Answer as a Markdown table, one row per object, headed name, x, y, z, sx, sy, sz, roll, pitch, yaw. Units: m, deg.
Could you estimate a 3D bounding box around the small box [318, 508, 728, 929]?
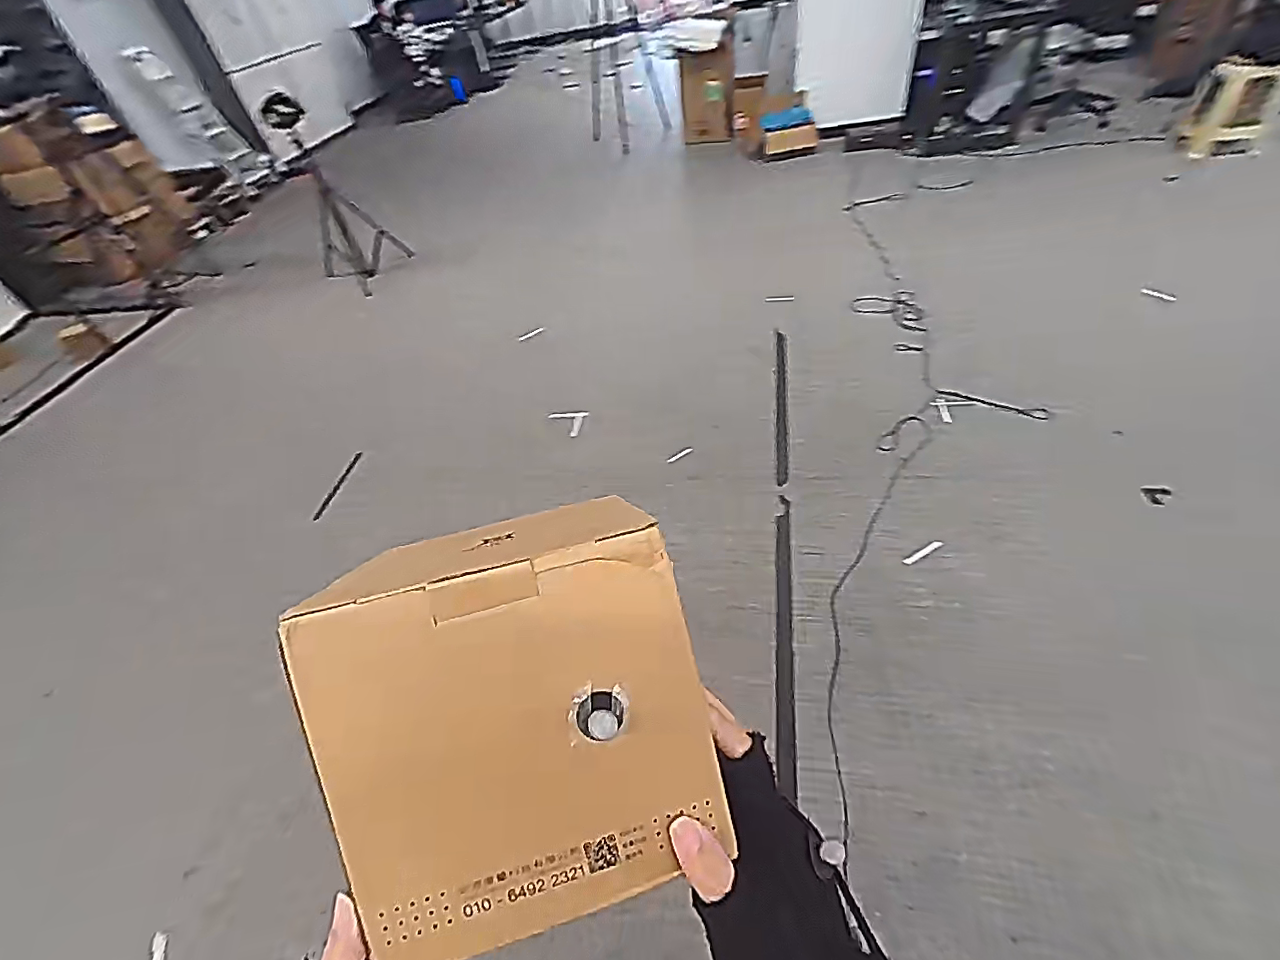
| name | x | y | z | sx | sy | sz | roll | pitch | yaw |
| --- | --- | --- | --- | --- | --- | --- | --- | --- | --- |
| small box | -0.058 | 0.125 | 0.335 | 0.168 | 0.176 | 0.179 | -13 | 4 | -7 |
